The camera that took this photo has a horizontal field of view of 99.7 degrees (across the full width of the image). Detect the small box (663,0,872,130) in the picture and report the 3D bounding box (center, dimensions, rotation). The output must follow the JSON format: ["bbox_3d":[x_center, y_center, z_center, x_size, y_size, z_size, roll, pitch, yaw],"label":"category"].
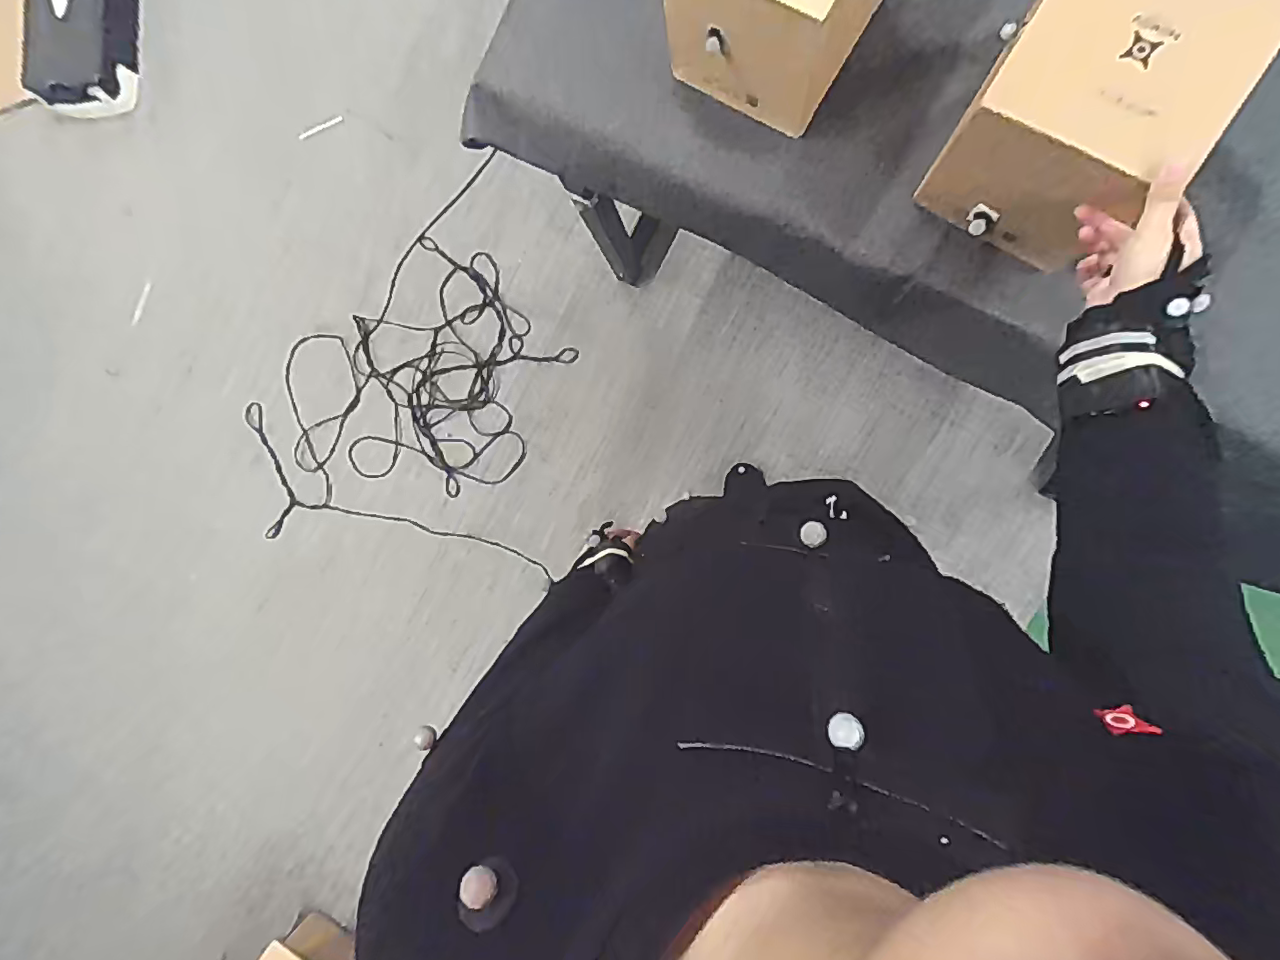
[{"bbox_3d":[0.134,-0.491,0.523,0.168,0.176,0.179,31,94,7],"label":"small box"}]

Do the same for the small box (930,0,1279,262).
[{"bbox_3d":[0.397,-0.332,0.488,0.168,0.176,0.179,29,100,10],"label":"small box"}]
